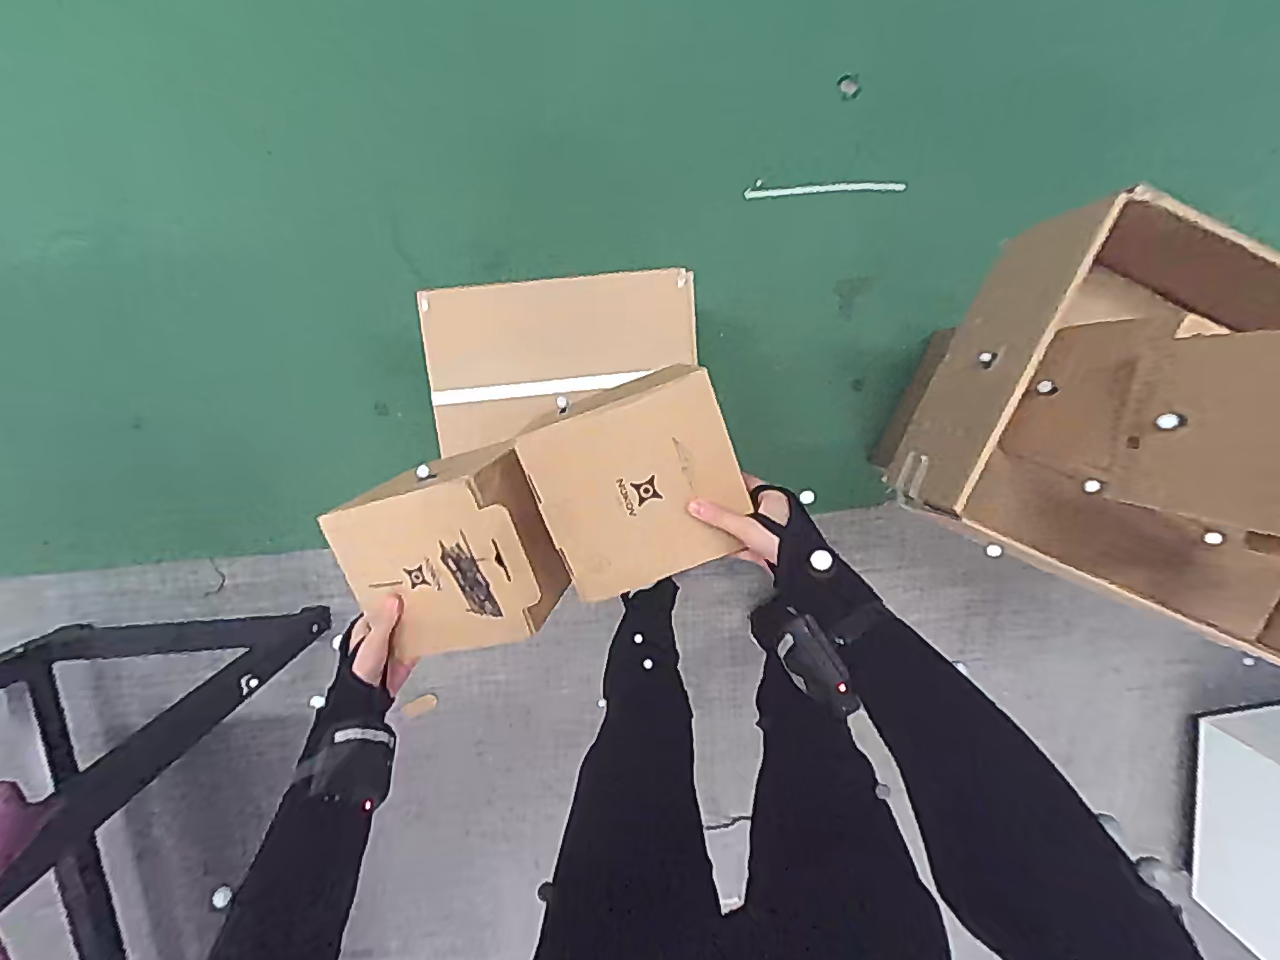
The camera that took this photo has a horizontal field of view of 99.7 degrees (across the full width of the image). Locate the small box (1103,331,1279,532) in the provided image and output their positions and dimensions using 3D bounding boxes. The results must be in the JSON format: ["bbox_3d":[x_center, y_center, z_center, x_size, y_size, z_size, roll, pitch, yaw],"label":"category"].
[{"bbox_3d":[0.591,-0.042,0.493,0.179,0.176,0.168,6,99,-3],"label":"small box"}]
